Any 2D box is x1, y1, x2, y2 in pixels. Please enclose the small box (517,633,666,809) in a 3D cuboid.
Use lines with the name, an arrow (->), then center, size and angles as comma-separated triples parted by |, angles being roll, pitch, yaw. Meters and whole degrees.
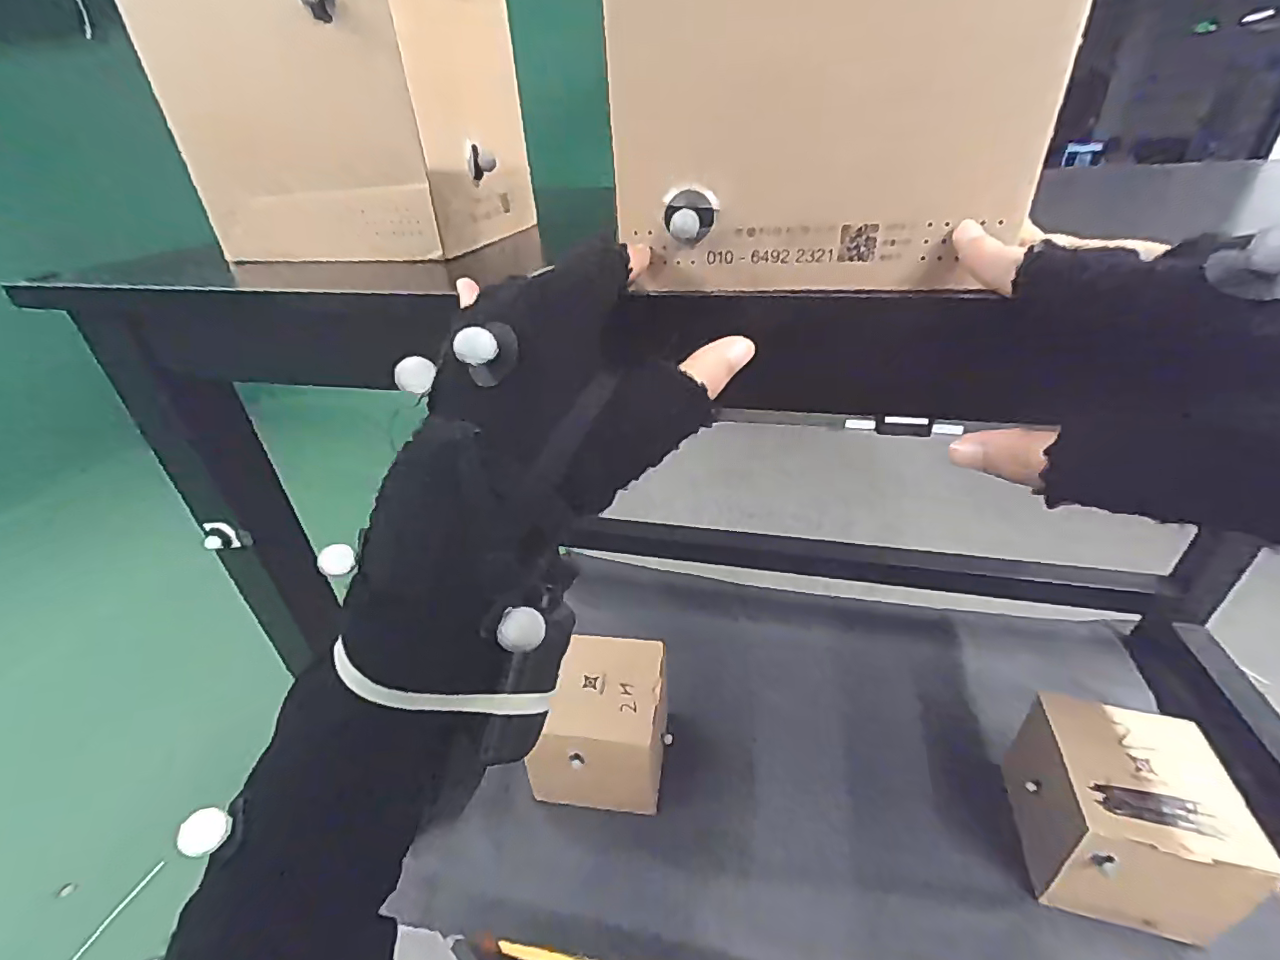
small box -> -0.058, 0.350, 0.791 | 0.179, 0.176, 0.168 | 3, 33, 9
